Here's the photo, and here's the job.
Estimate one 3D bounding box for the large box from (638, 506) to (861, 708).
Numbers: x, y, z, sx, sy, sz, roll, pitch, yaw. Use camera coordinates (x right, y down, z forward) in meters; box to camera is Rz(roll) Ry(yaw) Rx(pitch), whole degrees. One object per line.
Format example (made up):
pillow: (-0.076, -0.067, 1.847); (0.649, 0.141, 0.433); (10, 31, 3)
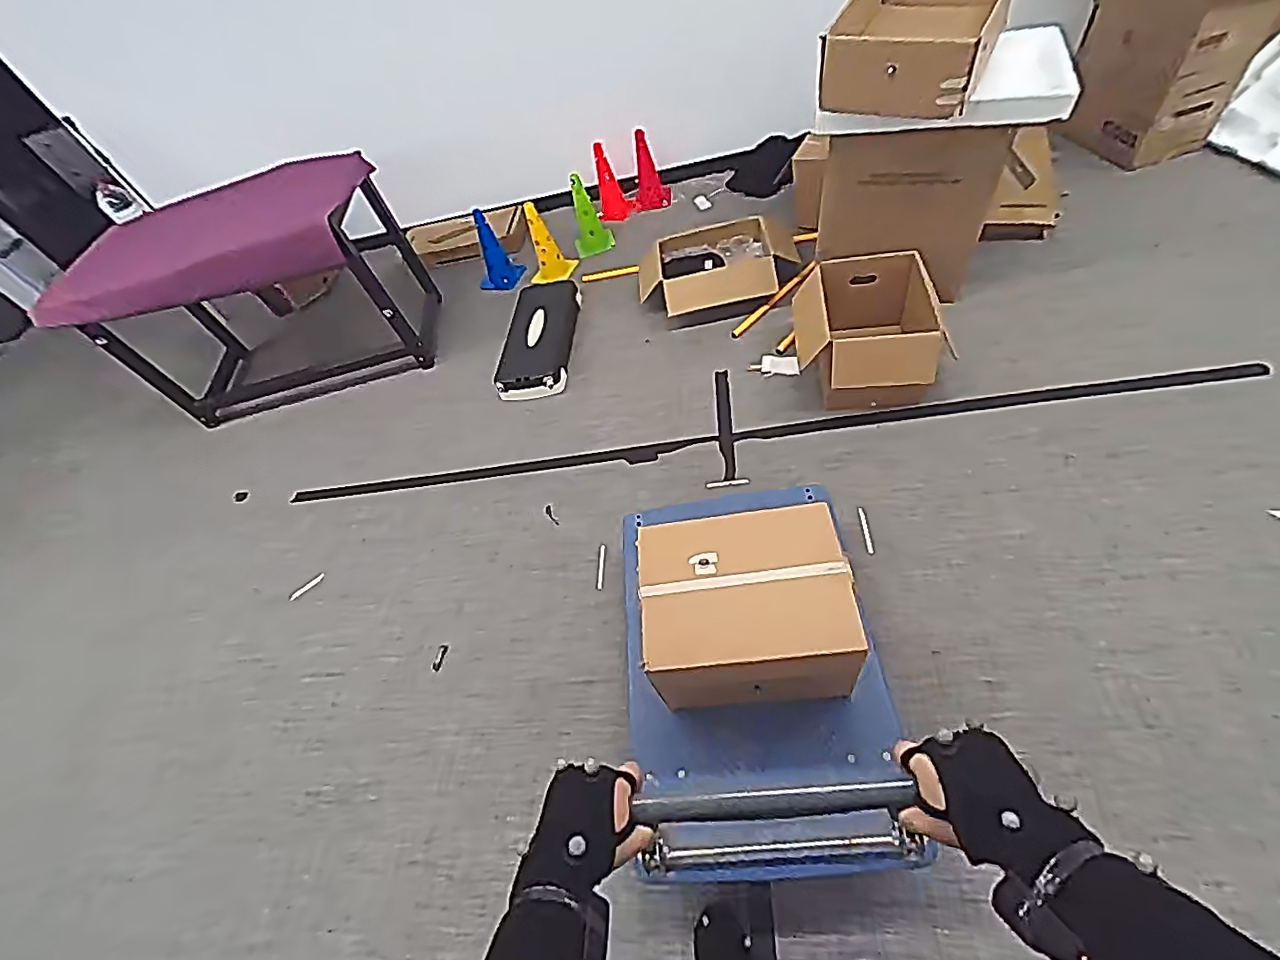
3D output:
large box: (0.231, 0.295, 1.202); (0.408, 0.320, 0.320); (-10, 52, 9)
